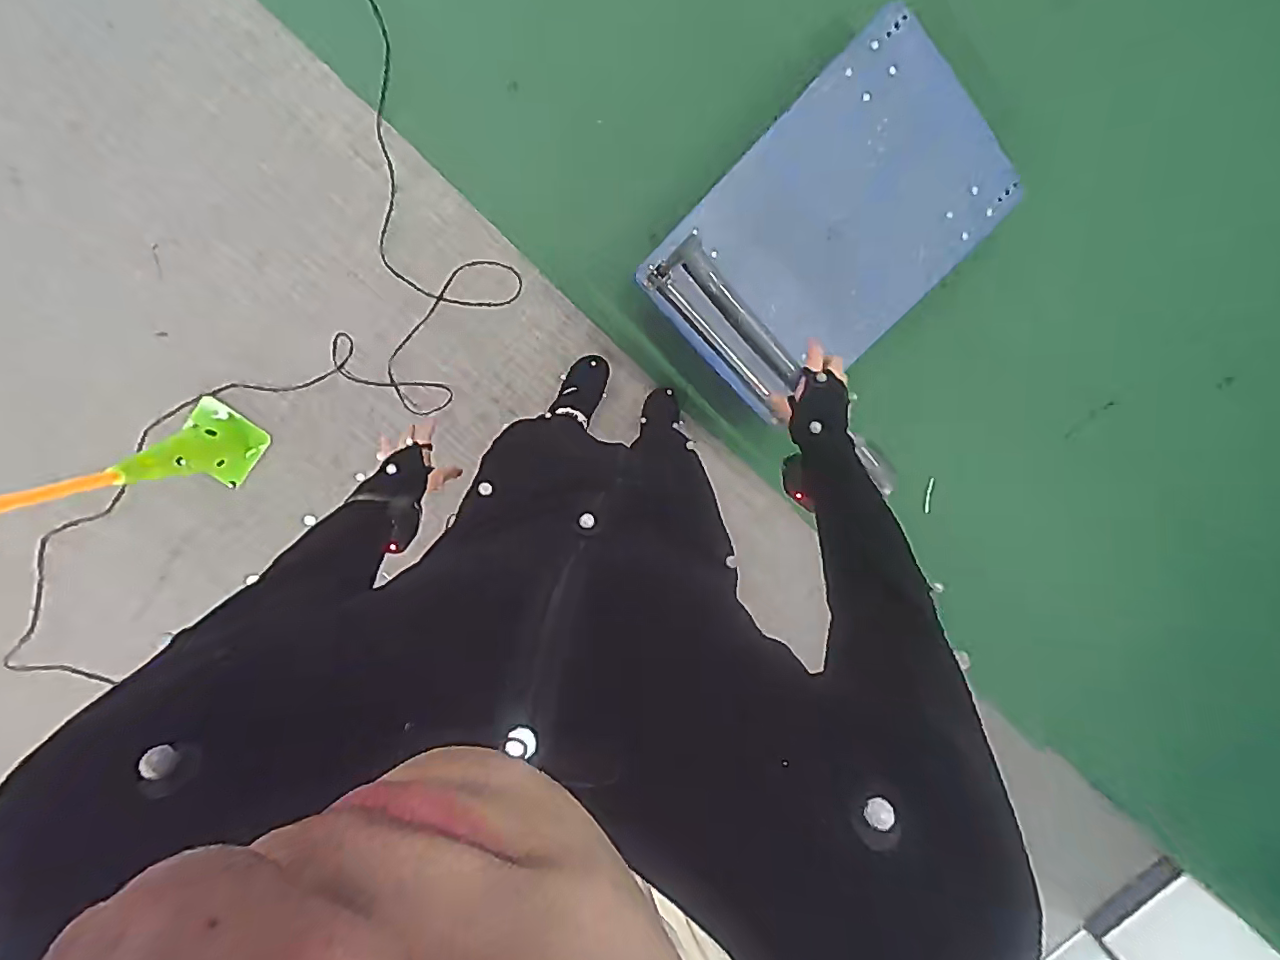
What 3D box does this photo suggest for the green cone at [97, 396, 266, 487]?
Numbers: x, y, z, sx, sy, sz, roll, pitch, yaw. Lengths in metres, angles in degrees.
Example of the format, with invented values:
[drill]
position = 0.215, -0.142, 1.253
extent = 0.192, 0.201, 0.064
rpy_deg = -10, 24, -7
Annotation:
[green cone]
position = -1.159, -0.063, 1.338
extent = 0.202, 0.368, 0.200
rpy_deg = 38, 99, -12
